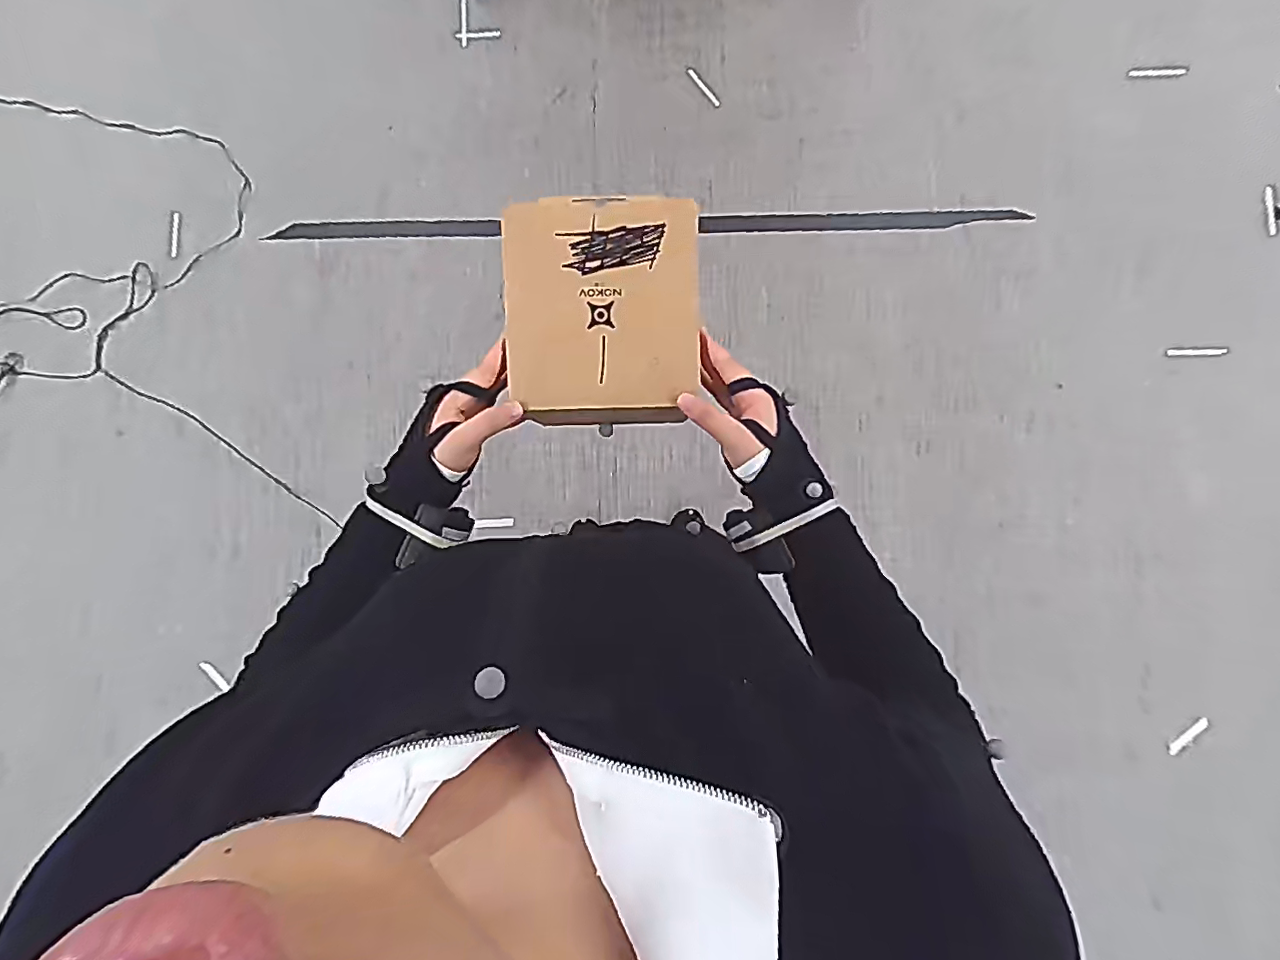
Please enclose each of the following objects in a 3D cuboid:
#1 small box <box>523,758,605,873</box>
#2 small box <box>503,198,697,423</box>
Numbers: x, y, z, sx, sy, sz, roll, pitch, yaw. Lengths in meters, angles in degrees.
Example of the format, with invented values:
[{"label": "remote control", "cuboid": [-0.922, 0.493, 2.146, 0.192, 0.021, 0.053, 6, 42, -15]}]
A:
[{"label": "small box", "cuboid": [-0.174, 0.786, 1.278, 0.168, 0.176, 0.179, -1, 87, 2]}, {"label": "small box", "cuboid": [-0.035, -0.152, 0.536, 0.168, 0.176, 0.179, -1, 92, 0]}]
